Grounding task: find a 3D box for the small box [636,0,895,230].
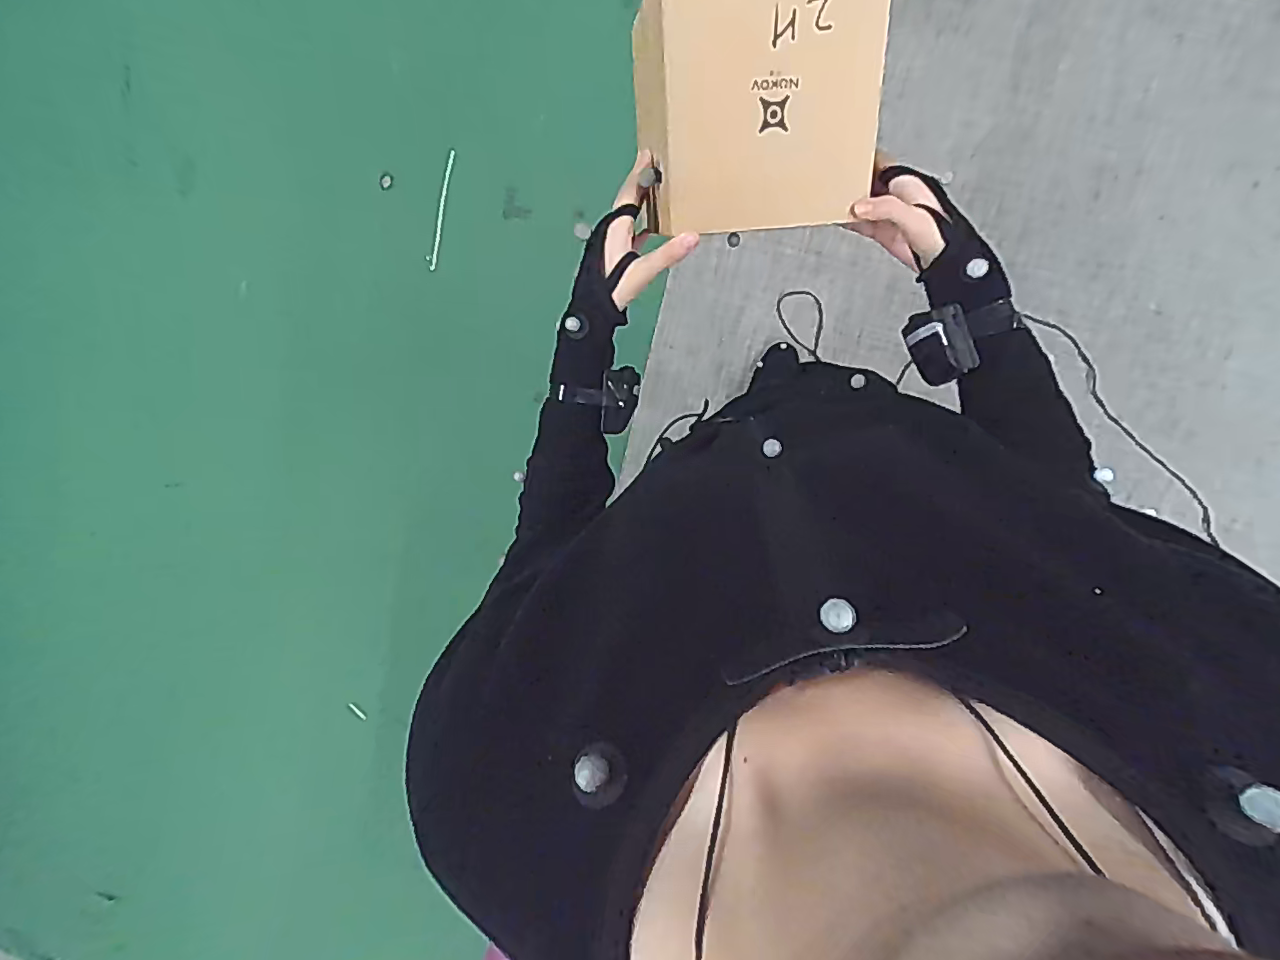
[{"bbox_3d":[0.090,-0.318,0.466,0.168,0.176,0.179,-7,116,-6],"label":"small box"}]
